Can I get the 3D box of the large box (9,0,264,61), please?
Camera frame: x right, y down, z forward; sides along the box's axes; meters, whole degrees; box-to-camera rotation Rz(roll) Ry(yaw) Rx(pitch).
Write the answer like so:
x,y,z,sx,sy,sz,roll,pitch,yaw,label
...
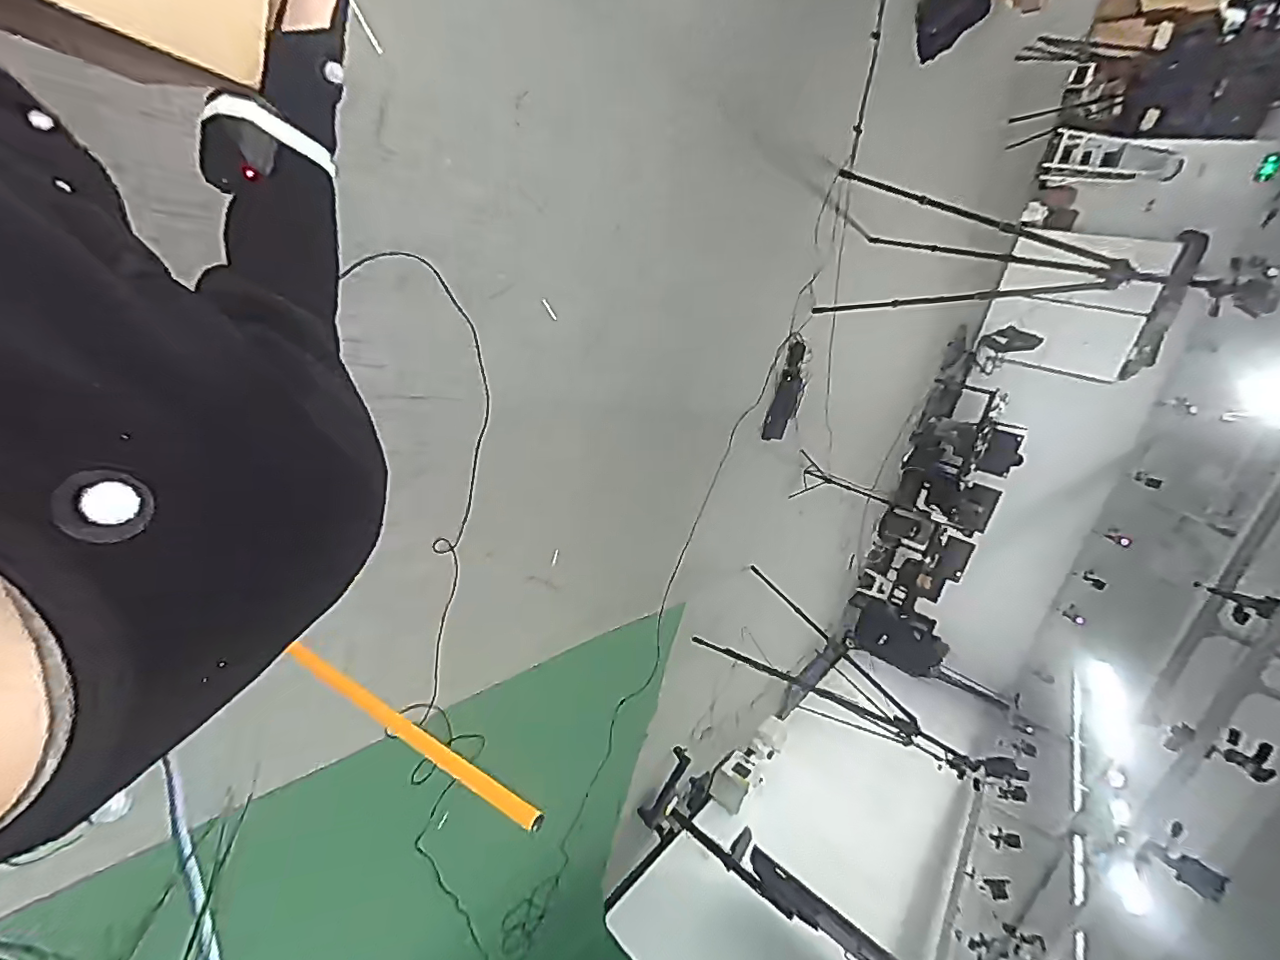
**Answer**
x,y,z,sx,sy,sz,roll,pitch,yaw,label
-0.492,-0.515,0.309,0.408,0.320,0.320,-8,120,-53,large box
